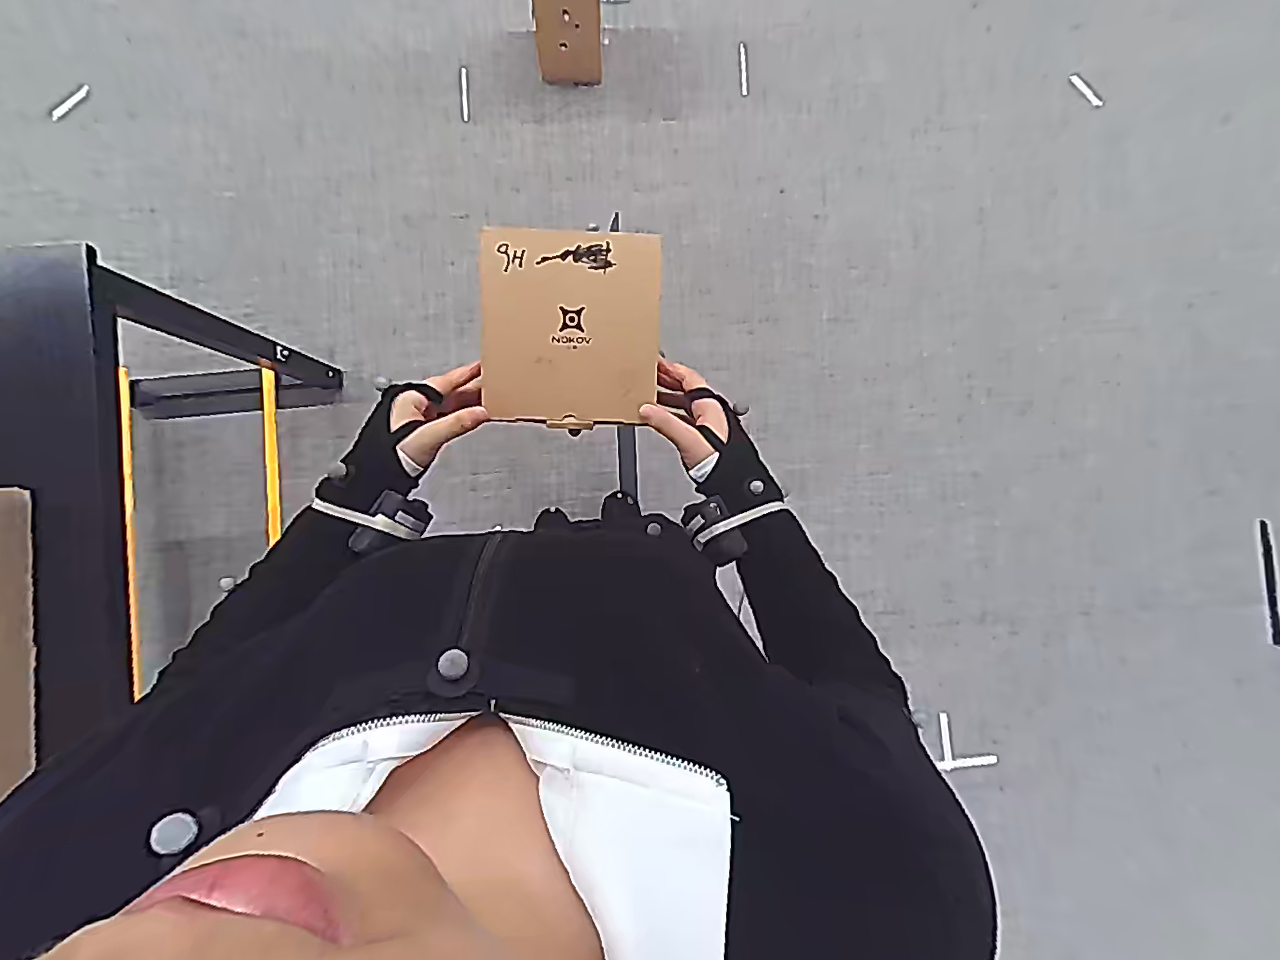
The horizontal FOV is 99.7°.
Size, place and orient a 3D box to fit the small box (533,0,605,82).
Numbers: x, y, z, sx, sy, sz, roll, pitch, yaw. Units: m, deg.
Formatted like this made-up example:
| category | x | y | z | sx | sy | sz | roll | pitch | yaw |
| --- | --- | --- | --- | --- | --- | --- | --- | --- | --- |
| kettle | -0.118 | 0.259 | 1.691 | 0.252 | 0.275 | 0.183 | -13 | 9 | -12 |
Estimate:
| category | x | y | z | sx | sy | sz | roll | pitch | yaw |
| --- | --- | --- | --- | --- | --- | --- | --- | --- | --- |
| small box | -0.186 | -1.216 | 1.459 | 0.179 | 0.176 | 0.168 | 0 | 89 | -3 |

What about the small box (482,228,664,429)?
| category | x | y | z | sx | sy | sz | roll | pitch | yaw |
| --- | --- | --- | --- | --- | --- | --- | --- | --- | --- |
| small box | -0.066 | -0.150 | 0.577 | 0.168 | 0.176 | 0.179 | 1 | 99 | -4 |

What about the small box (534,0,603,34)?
| category | x | y | z | sx | sy | sz | roll | pitch | yaw |
| --- | --- | --- | --- | --- | --- | --- | --- | --- | --- |
| small box | -0.174 | -1.226 | 1.295 | 0.168 | 0.176 | 0.179 | 0 | 89 | -2 |
